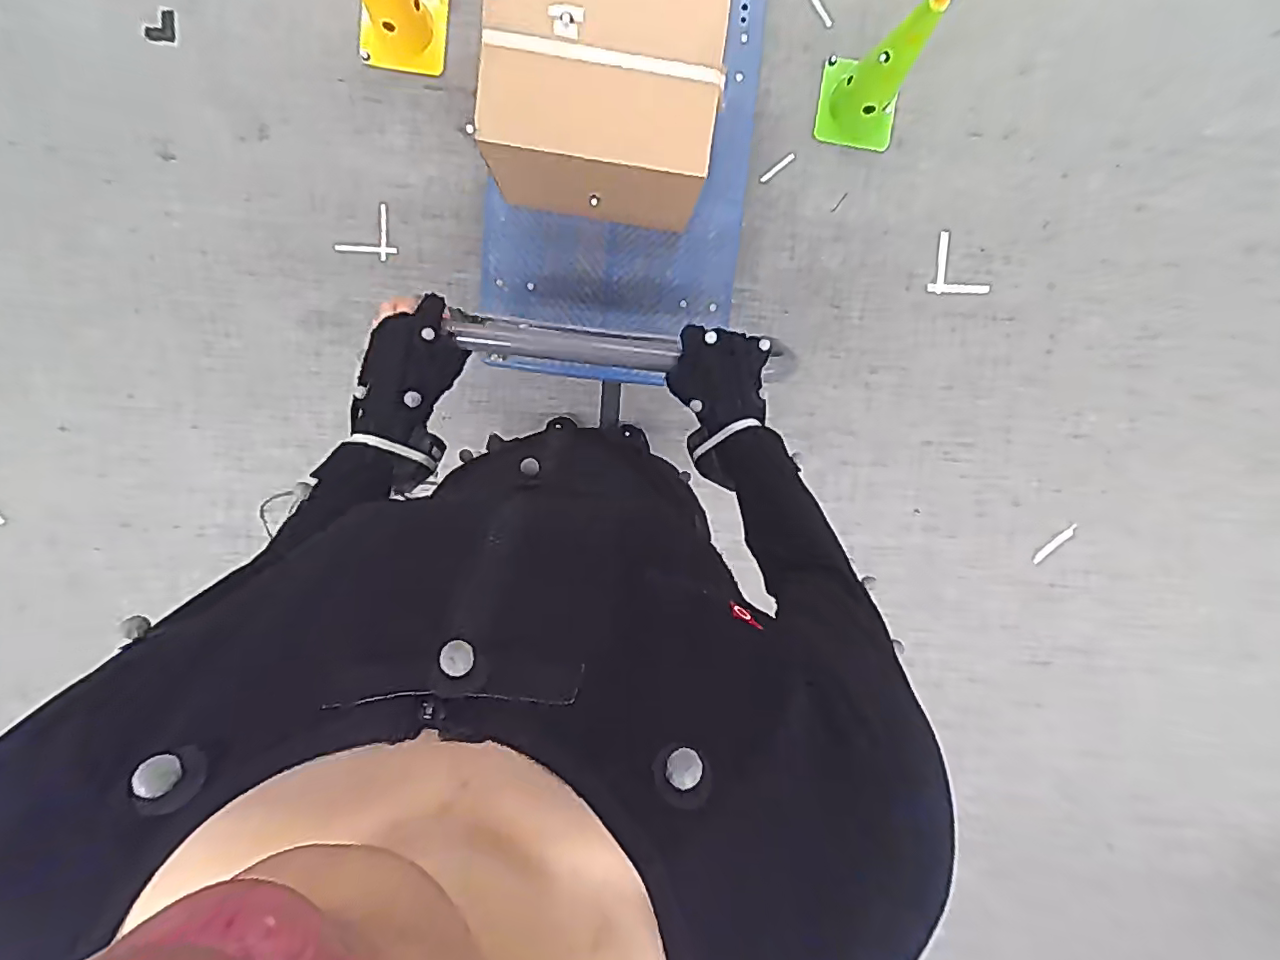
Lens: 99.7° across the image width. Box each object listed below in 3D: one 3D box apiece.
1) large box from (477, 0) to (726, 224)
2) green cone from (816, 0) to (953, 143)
[{"bbox_3d":[-0.069,-0.730,1.063,0.408,0.320,0.320,7,98,-3],"label":"large box"},{"bbox_3d":[0.568,-0.954,1.208,0.202,0.368,0.200,7,97,-5],"label":"green cone"}]
